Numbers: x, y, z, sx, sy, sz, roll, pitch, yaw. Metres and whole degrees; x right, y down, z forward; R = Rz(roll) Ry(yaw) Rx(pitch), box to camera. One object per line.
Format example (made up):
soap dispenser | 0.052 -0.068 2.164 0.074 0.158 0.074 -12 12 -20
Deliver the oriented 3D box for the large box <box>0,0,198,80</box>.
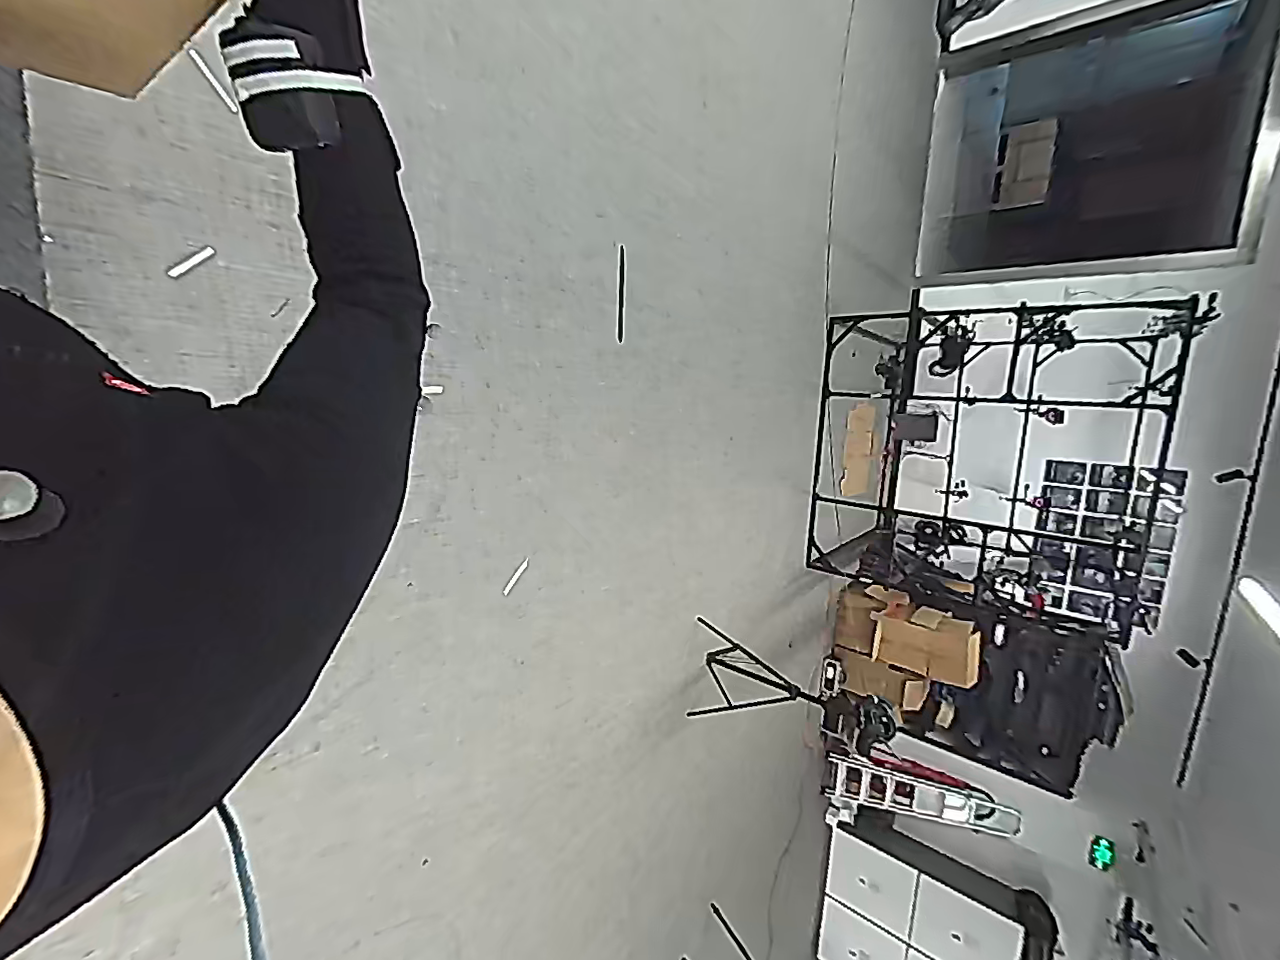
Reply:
large box | -0.481 -0.449 0.229 0.408 0.320 0.320 -13 115 -49
